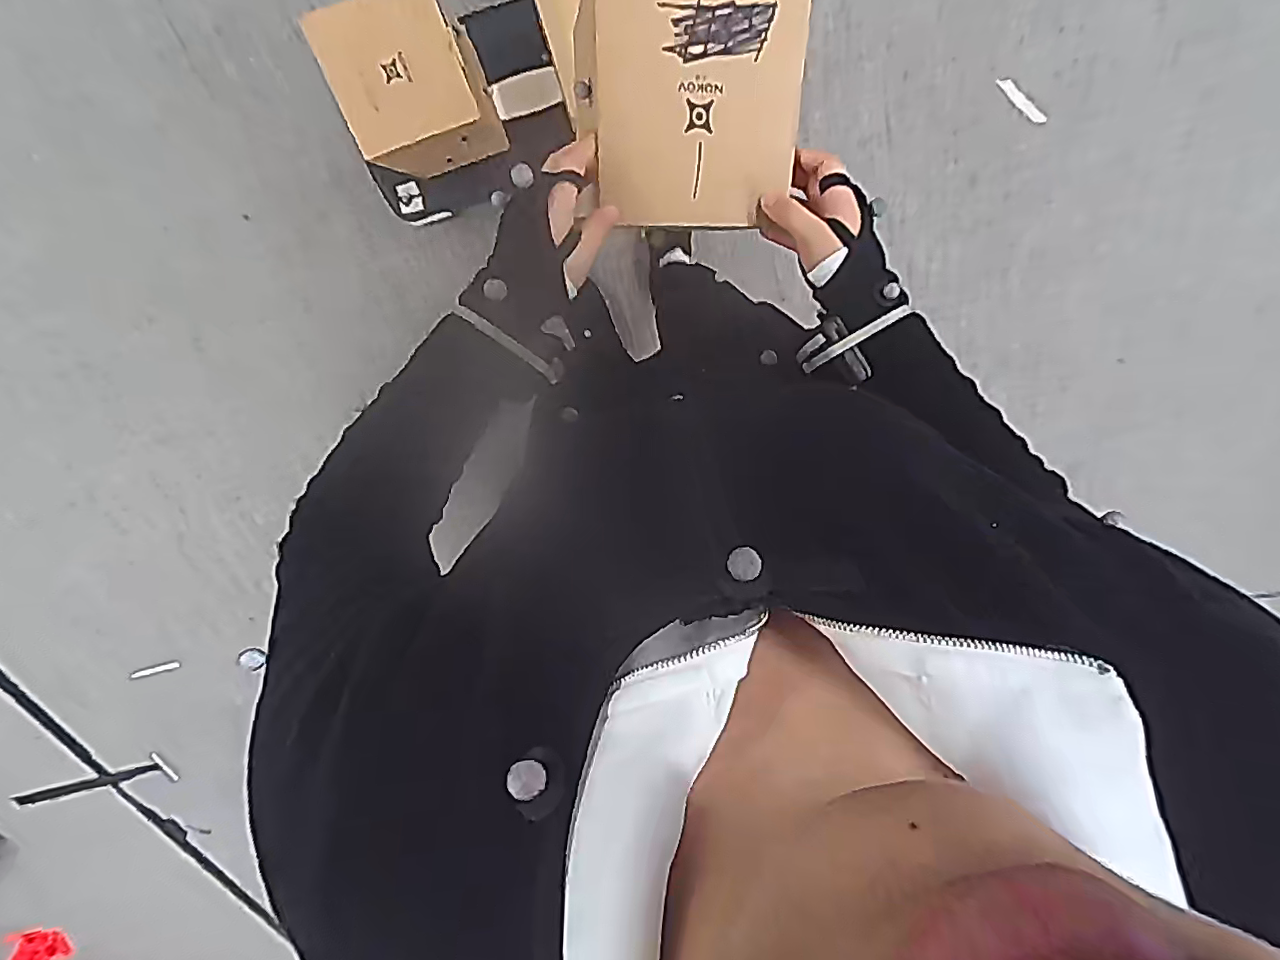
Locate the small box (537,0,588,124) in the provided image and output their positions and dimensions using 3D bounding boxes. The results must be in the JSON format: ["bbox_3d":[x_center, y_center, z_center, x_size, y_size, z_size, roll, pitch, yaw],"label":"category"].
[{"bbox_3d":[-0.069,-0.731,0.919,0.168,0.176,0.179,-16,116,3],"label":"small box"}]

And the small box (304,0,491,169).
[{"bbox_3d":[-0.329,-0.573,0.784,0.179,0.176,0.168,-19,115,3],"label":"small box"}]

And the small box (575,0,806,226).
[{"bbox_3d":[0.032,-0.334,0.498,0.168,0.176,0.179,-4,115,-10],"label":"small box"}]

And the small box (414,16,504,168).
[{"bbox_3d":[-0.346,-0.645,0.930,0.179,0.176,0.168,-18,116,3],"label":"small box"}]
